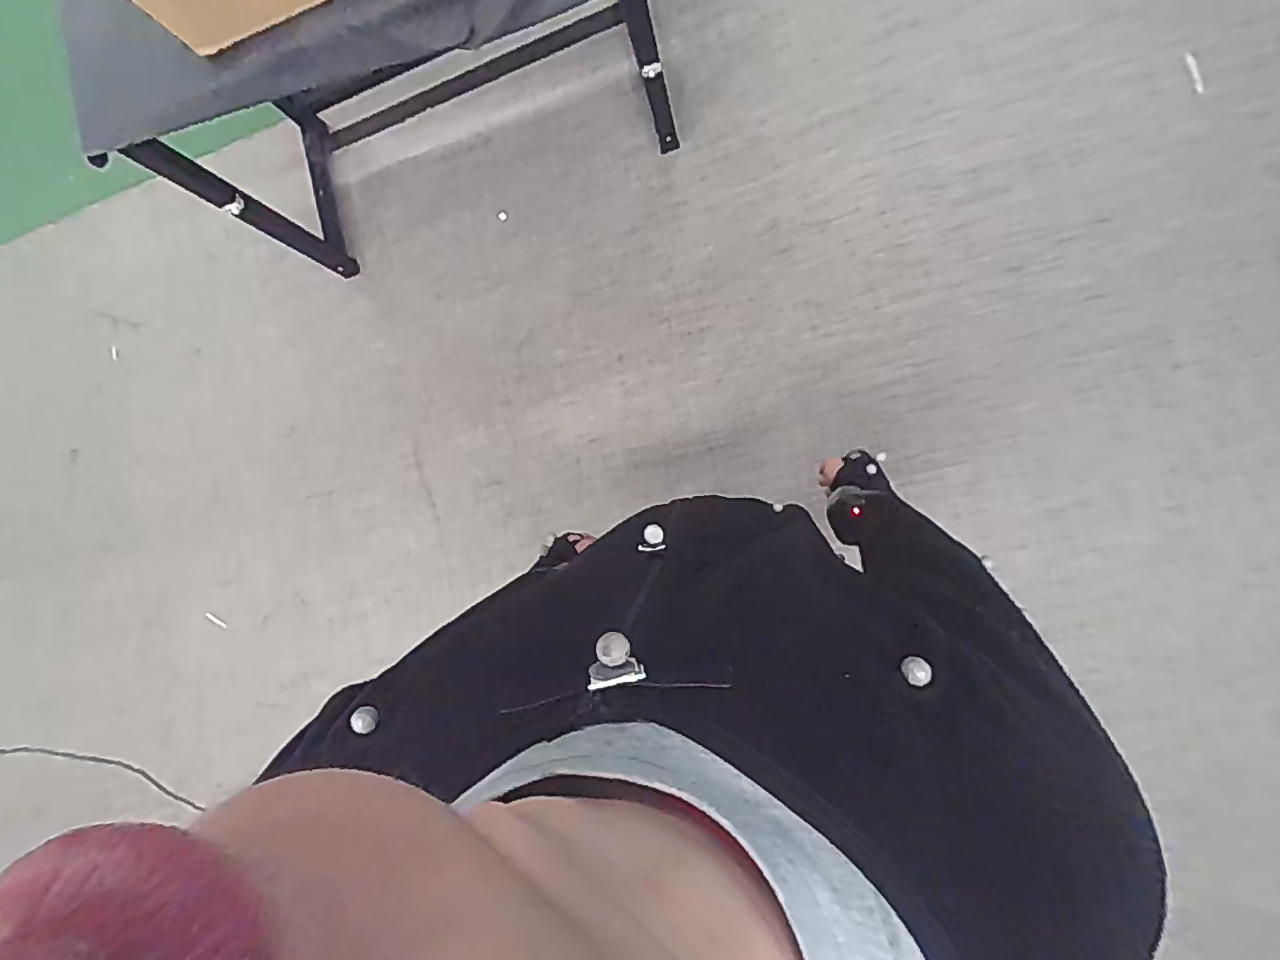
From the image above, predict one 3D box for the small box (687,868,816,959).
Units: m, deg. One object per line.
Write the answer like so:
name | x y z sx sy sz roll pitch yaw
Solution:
small box | 0.179 0.742 0.822 0.168 0.176 0.179 -17 86 10
